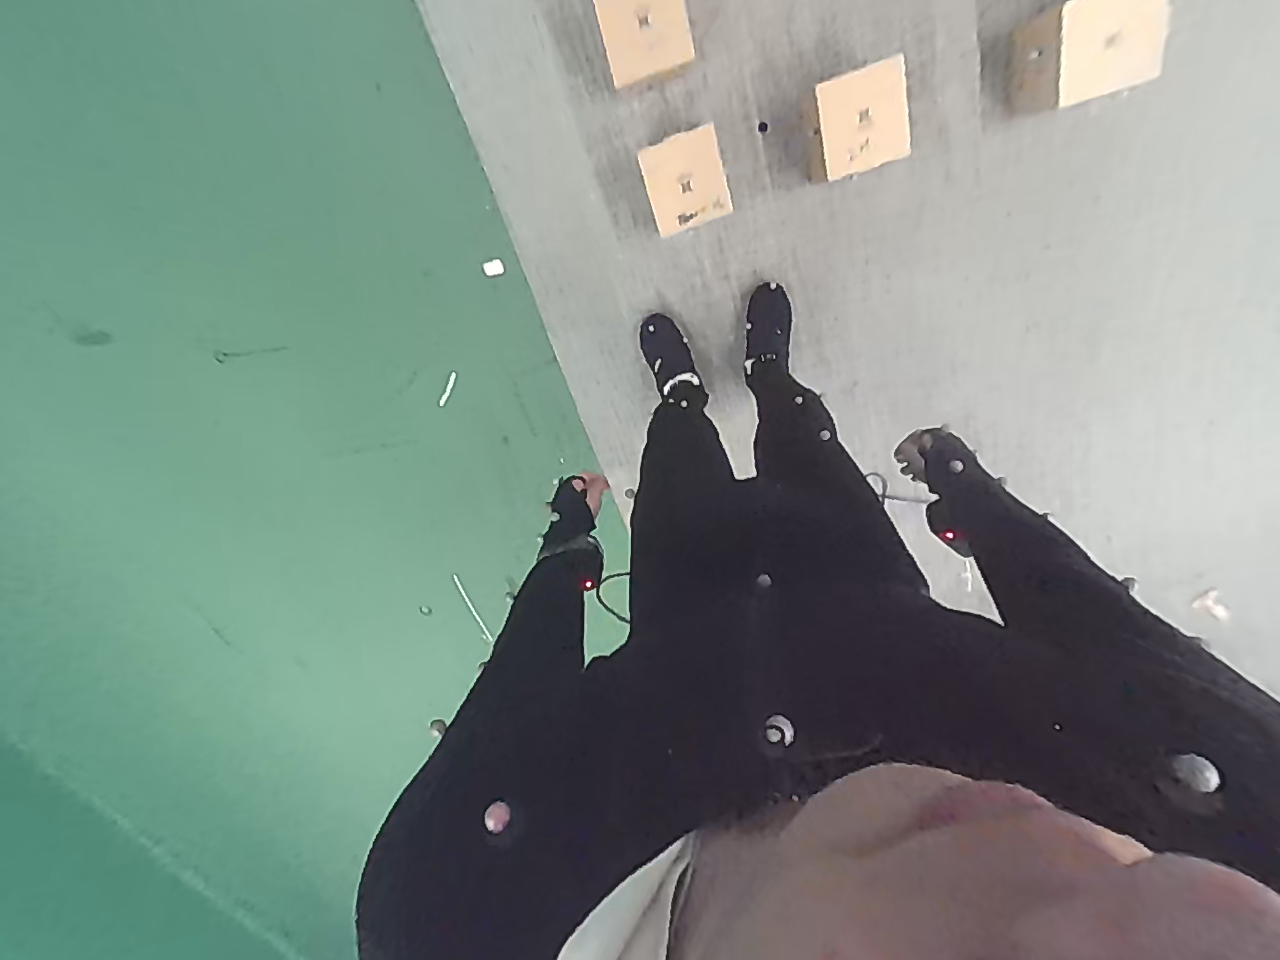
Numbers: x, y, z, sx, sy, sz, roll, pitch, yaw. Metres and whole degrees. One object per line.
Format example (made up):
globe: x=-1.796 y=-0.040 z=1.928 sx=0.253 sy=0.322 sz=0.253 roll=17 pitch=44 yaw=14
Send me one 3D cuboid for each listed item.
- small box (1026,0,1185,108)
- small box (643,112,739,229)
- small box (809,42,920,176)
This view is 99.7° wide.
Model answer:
small box: x=0.870 y=-0.837 z=1.028 sx=0.179 sy=0.176 sz=0.168 roll=-13 pitch=116 yaw=11
small box: x=0.112 y=-0.668 z=1.187 sx=0.168 sy=0.176 sz=0.179 roll=-14 pitch=114 yaw=13
small box: x=0.454 y=-0.748 z=1.112 sx=0.168 sy=0.176 sz=0.179 roll=-13 pitch=115 yaw=13
